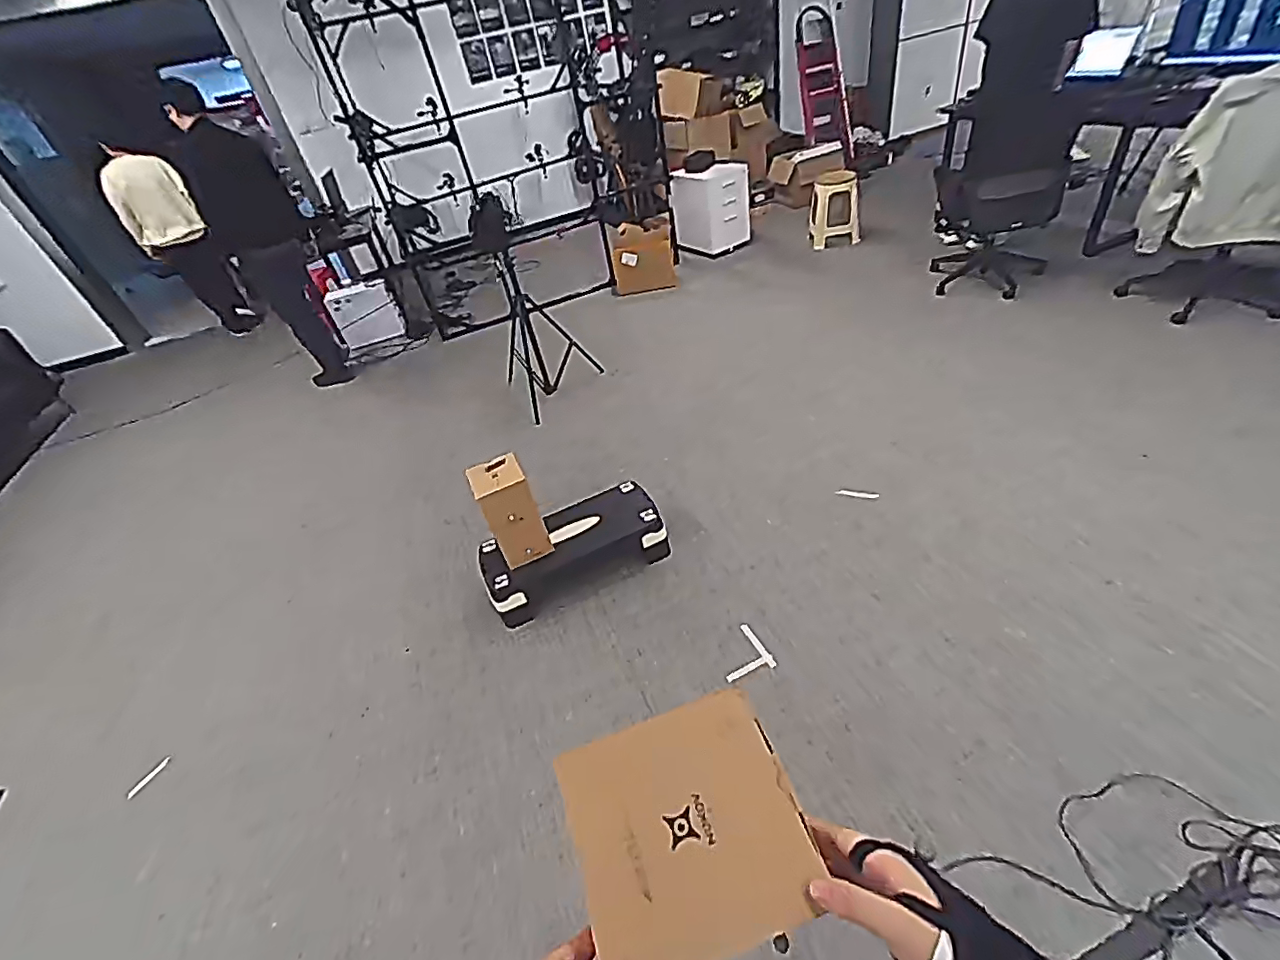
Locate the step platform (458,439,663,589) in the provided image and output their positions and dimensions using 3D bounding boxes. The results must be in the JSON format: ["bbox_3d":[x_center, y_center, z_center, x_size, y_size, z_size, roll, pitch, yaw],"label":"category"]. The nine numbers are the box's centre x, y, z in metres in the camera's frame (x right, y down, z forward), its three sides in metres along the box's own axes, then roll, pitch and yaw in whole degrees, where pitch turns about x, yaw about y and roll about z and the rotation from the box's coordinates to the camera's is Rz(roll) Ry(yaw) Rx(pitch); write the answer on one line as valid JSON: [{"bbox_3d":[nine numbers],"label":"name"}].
[{"bbox_3d":[-0.263,0.110,1.876,0.684,0.204,0.286,-23,39,-13],"label":"step platform"}]

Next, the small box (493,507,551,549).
[{"bbox_3d":[-0.423,0.175,1.900,0.168,0.176,0.179,-23,40,-12],"label":"small box"}]

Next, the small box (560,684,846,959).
[{"bbox_3d":[0.045,0.312,0.478,0.179,0.176,0.168,-19,52,-9],"label":"small box"}]

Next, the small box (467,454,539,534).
[{"bbox_3d":[-0.456,0.048,1.801,0.168,0.176,0.179,-24,40,-13],"label":"small box"}]
